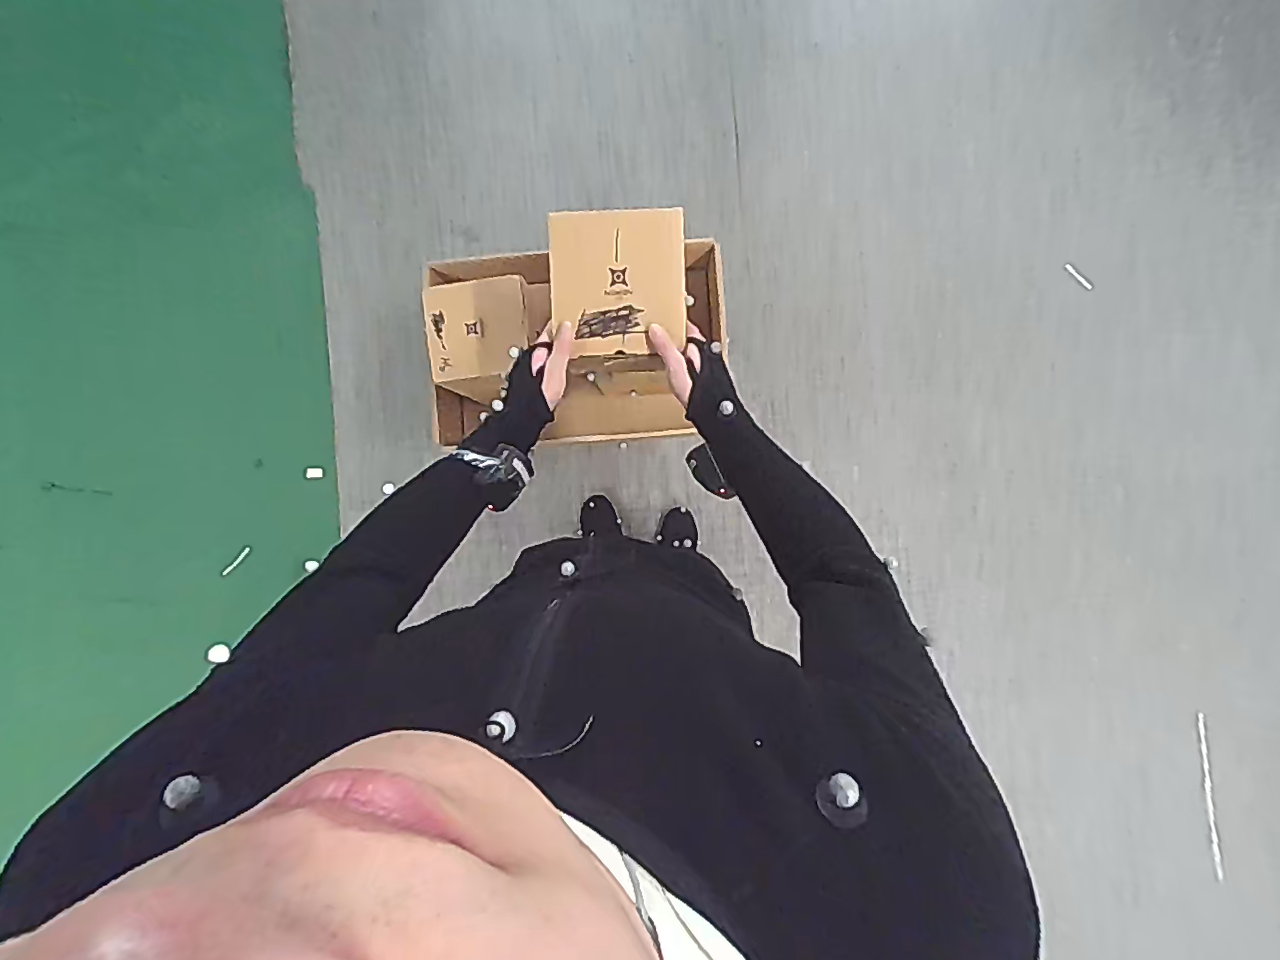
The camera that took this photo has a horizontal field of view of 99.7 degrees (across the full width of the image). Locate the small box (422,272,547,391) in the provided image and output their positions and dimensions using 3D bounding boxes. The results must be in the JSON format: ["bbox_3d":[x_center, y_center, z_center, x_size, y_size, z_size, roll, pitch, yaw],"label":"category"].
[{"bbox_3d":[-0.273,-0.264,0.994,0.179,0.176,0.168,-7,90,2],"label":"small box"}]

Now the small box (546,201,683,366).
[{"bbox_3d":[-0.027,-0.249,0.727,0.168,0.176,0.179,-2,94,1],"label":"small box"}]

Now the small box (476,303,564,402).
[{"bbox_3d":[-0.268,-0.265,1.158,0.179,0.176,0.168,-5,90,1],"label":"small box"}]
